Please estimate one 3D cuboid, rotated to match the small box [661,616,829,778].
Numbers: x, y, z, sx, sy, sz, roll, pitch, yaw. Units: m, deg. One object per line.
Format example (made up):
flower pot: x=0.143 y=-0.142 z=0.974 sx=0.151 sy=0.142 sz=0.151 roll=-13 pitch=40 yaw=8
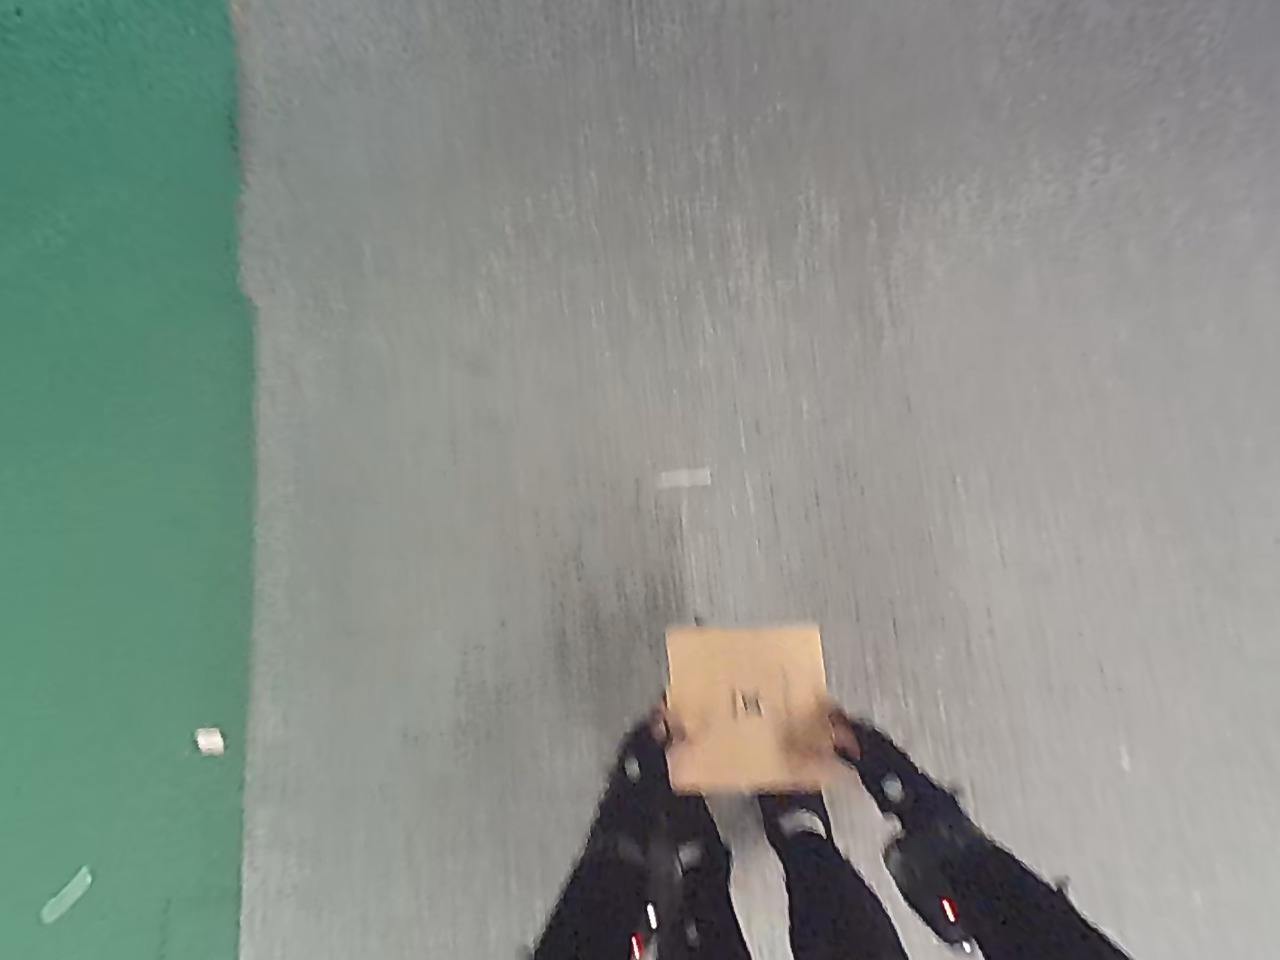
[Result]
small box: x=0.115 y=0.255 z=0.667 sx=0.179 sy=0.176 sz=0.168 roll=-1 pitch=75 yaw=2
